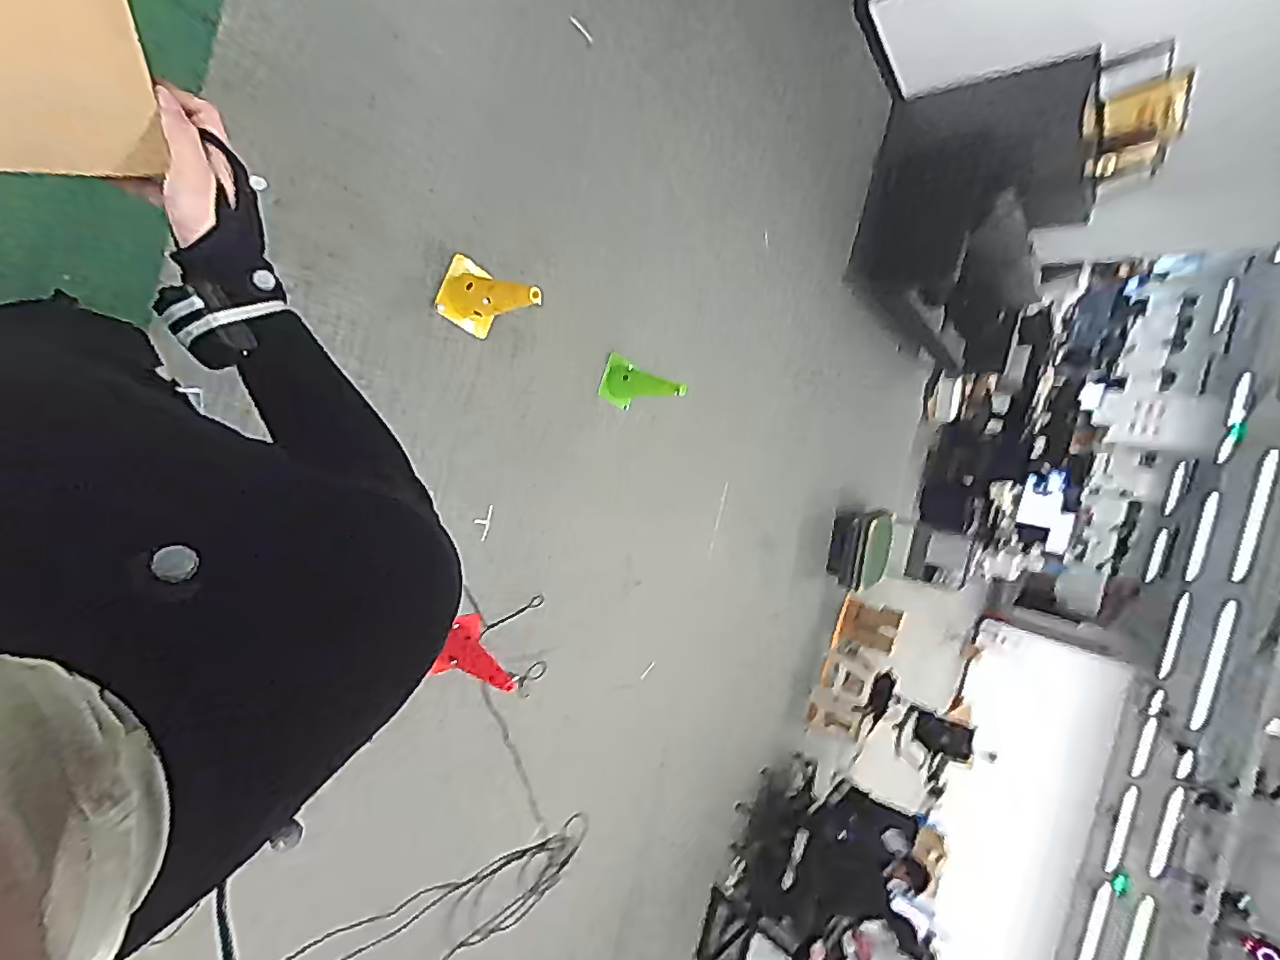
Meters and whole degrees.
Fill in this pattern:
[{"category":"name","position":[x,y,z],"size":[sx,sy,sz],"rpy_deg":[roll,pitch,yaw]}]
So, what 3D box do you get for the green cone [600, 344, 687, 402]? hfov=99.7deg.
[{"category":"green cone","position":[0.045,-0.422,2.197],"size":[0.202,0.368,0.200],"rpy_deg":[21,86,-48]}]
